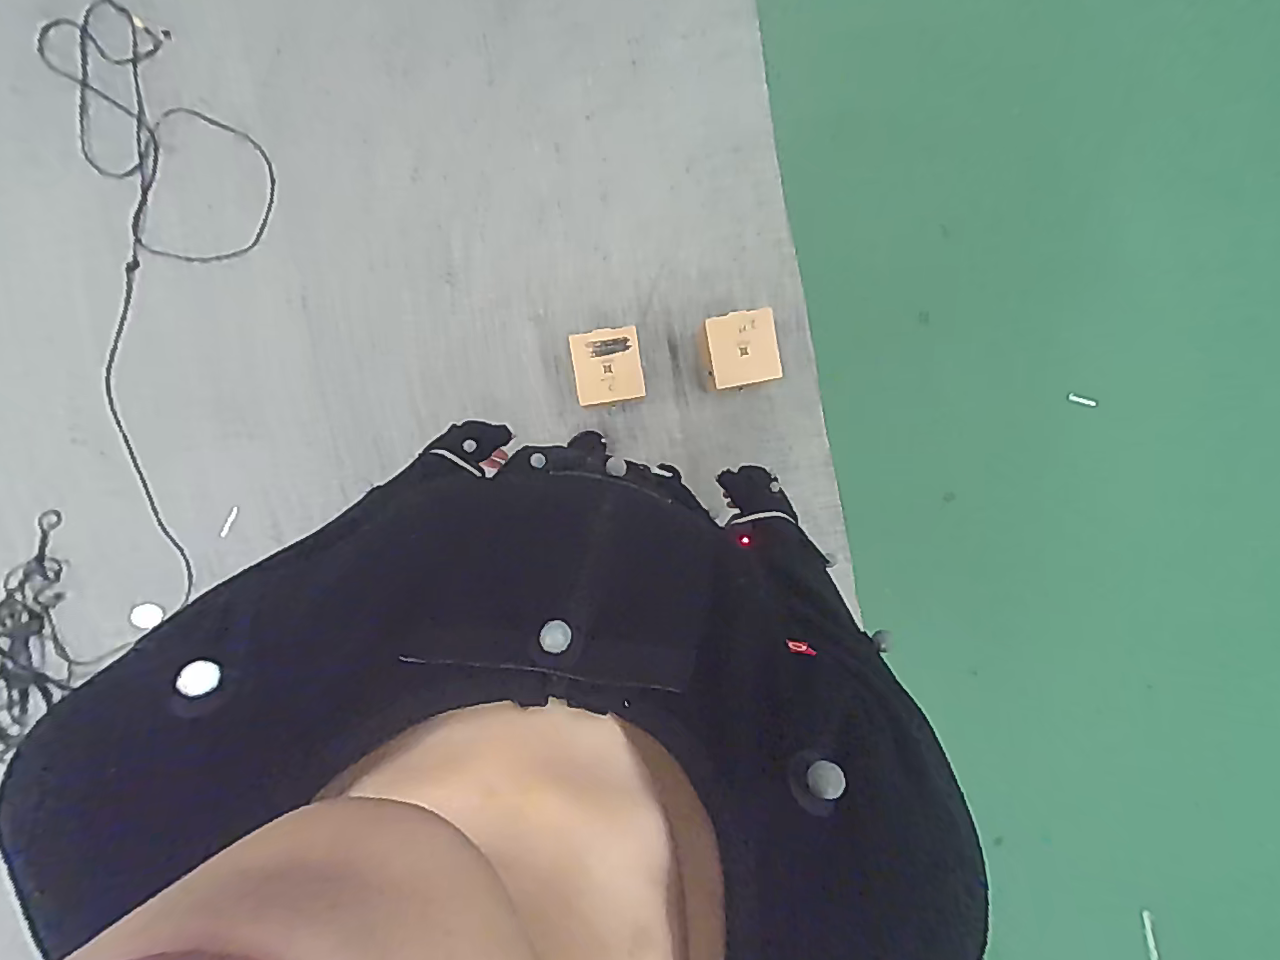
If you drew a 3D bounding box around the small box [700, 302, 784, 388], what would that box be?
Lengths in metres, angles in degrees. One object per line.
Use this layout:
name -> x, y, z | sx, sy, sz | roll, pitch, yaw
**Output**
small box -> 0.253, -0.333, 1.373 | 0.168, 0.176, 0.179 | -10, 94, 0
